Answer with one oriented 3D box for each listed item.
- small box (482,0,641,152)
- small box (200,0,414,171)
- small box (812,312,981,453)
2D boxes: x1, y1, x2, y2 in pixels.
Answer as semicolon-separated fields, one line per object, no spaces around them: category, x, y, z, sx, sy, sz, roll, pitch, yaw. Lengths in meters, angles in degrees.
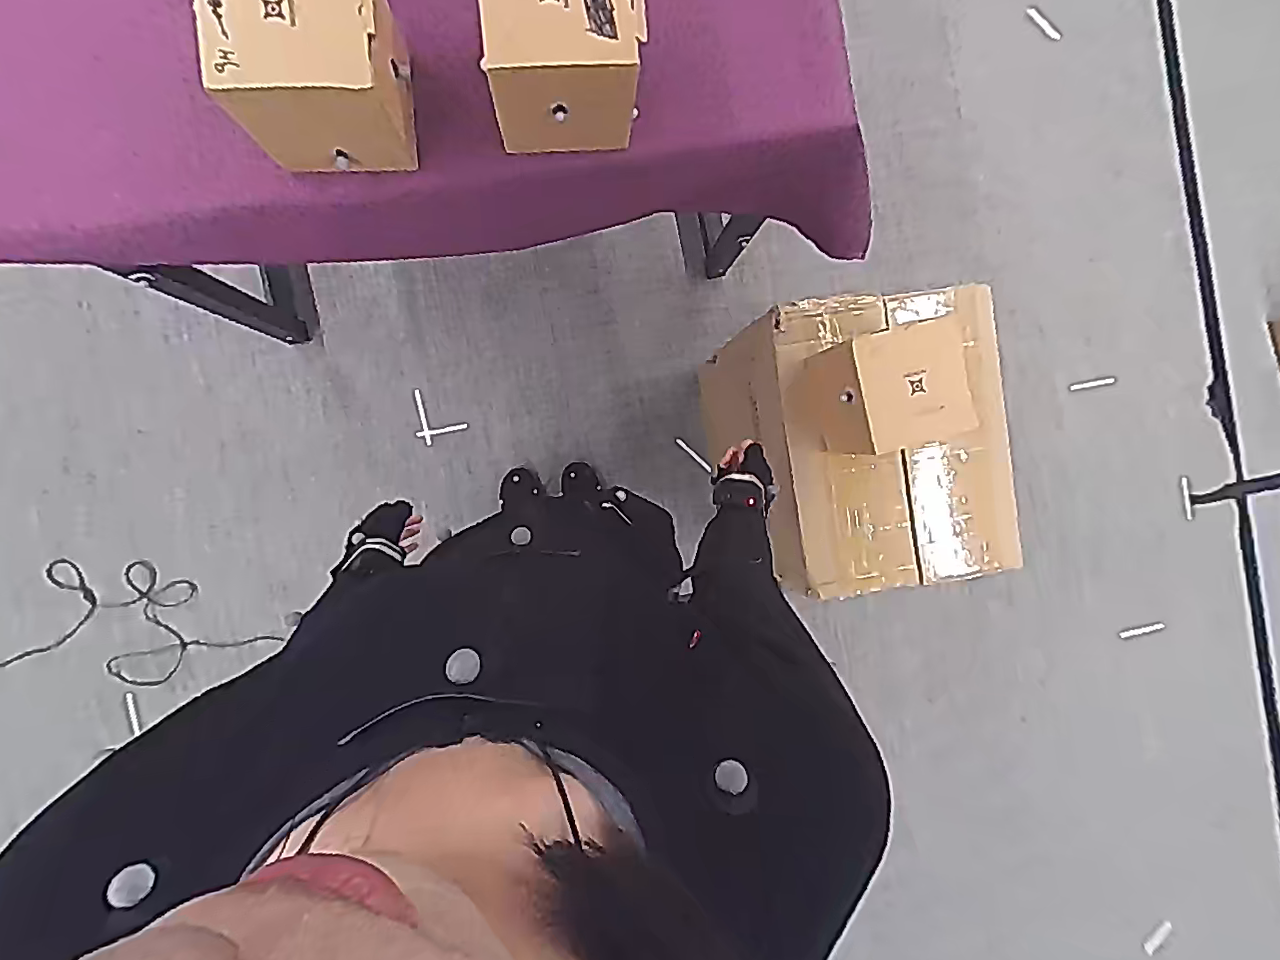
small box;-0.099;-0.548;0.689;0.179;0.176;0.168;-6;91;-5
small box;-0.386;-0.503;0.659;0.179;0.176;0.168;-4;91;-7
small box;0.393;-0.144;0.857;0.168;0.176;0.179;-15;94;-3
